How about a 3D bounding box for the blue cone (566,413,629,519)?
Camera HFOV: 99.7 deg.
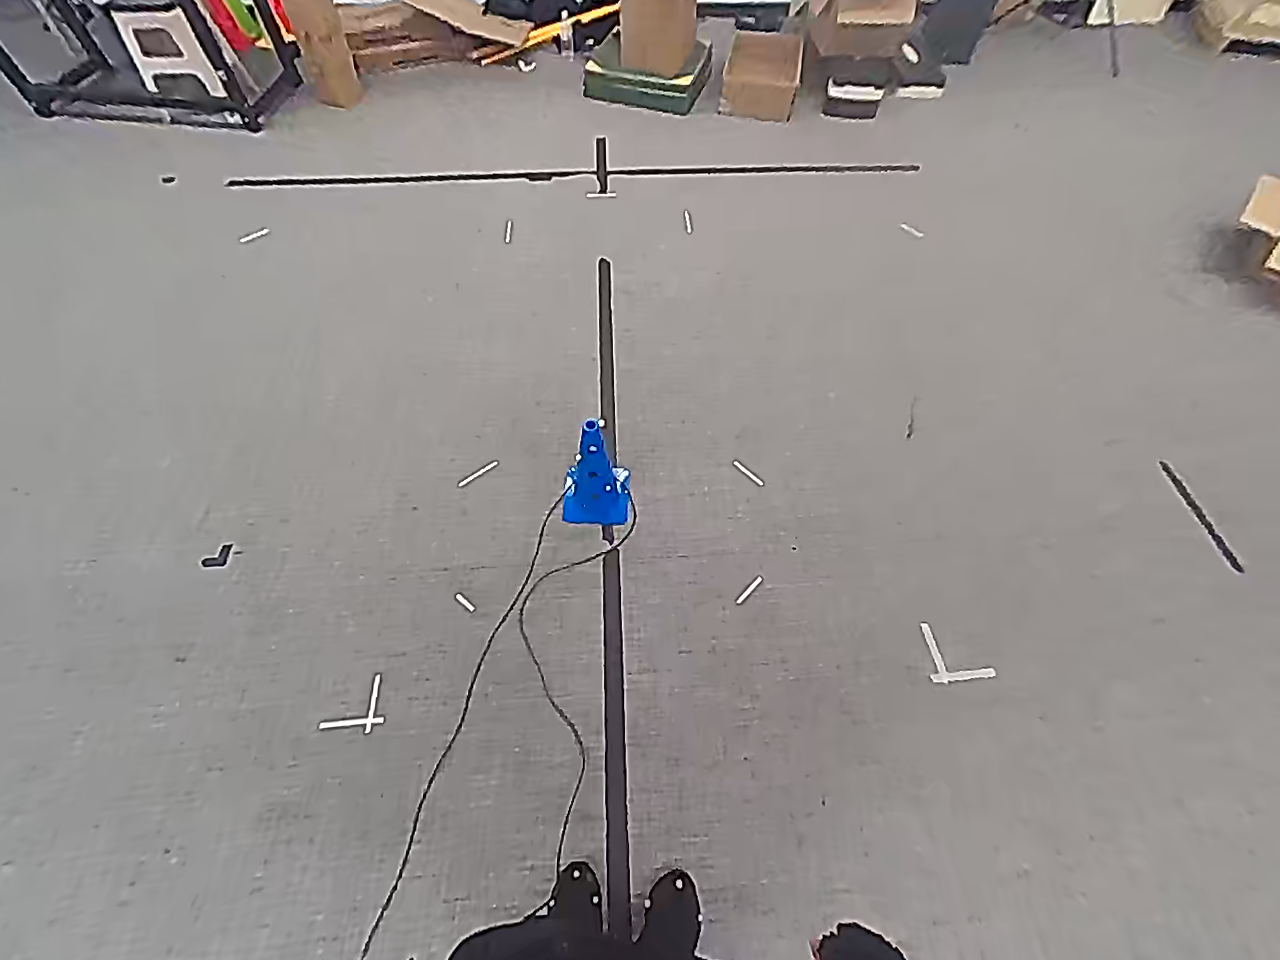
[{"bbox_3d":[-0.129,-0.049,1.514,0.193,0.380,0.192,0,58,-1],"label":"blue cone"}]
